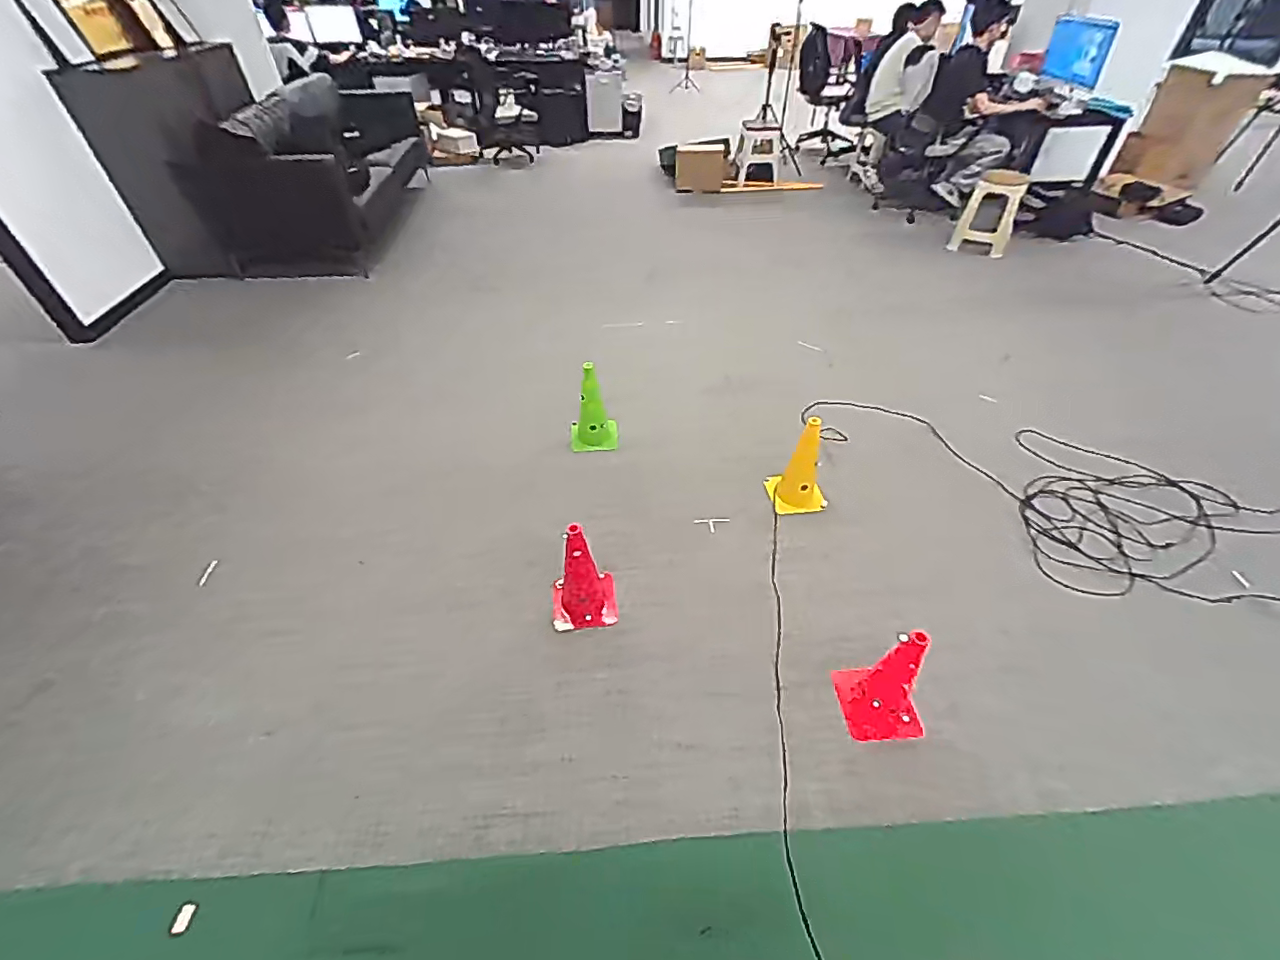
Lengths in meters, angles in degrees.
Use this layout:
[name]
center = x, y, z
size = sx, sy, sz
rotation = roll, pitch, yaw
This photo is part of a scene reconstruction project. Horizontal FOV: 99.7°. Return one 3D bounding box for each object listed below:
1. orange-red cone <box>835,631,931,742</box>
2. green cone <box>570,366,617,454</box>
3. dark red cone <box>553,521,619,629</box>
[orange-red cone]
center = 0.655, 0.493, 1.374
size = 0.198, 0.360, 0.199
rotation = -2, 43, -3
[green cone]
center = -0.202, -0.303, 2.237
size = 0.202, 0.368, 0.200
rotation = -4, 44, -4
[dark red cone]
center = -0.175, 0.261, 1.606
size = 0.202, 0.394, 0.201
rotation = -7, 45, -6
